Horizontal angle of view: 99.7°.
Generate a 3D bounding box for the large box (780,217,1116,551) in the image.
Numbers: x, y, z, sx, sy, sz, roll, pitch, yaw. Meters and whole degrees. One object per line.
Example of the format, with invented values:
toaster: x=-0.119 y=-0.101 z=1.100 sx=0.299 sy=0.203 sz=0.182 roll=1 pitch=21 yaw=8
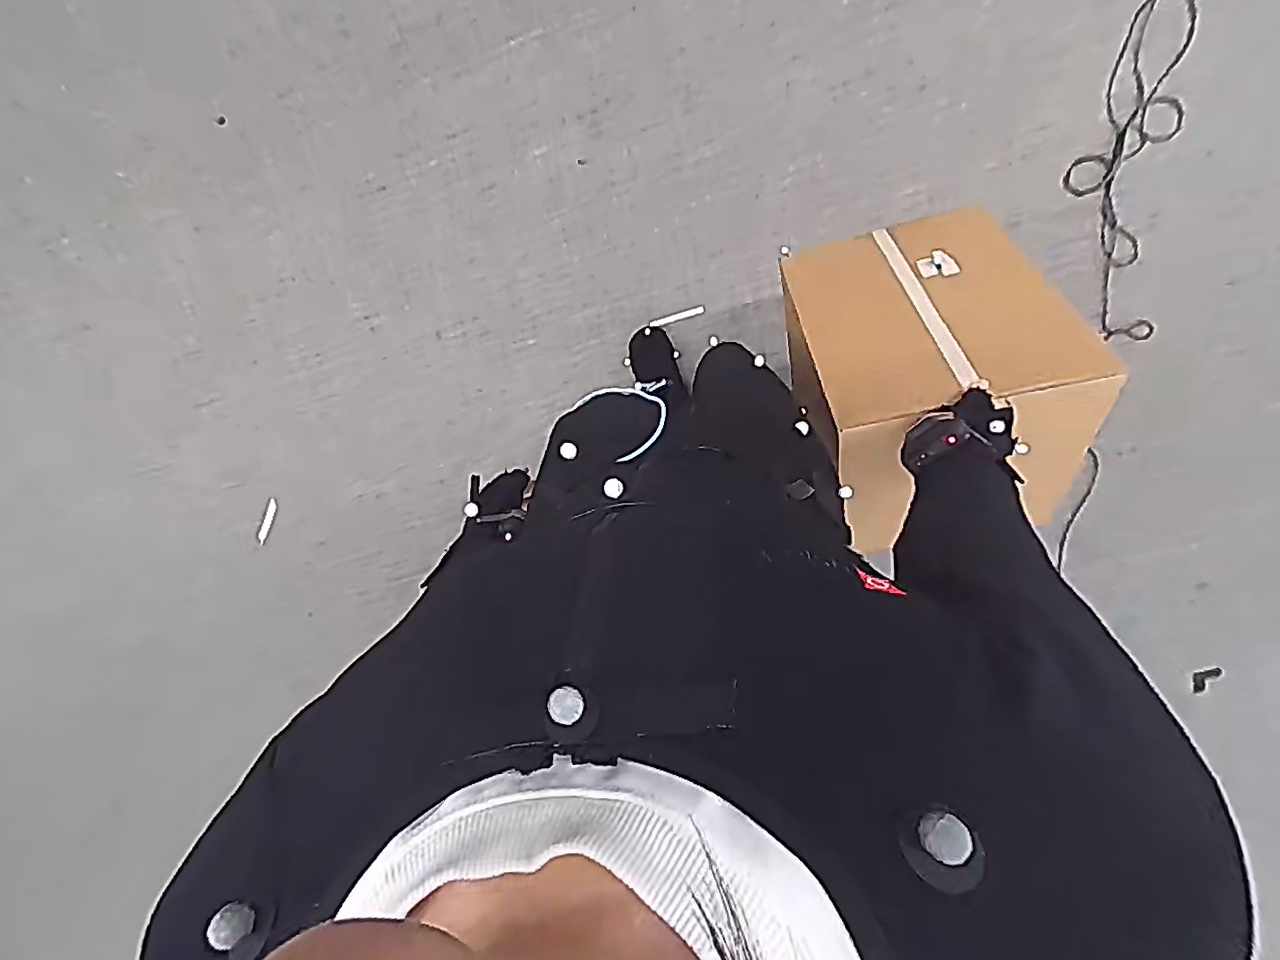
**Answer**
large box: x=0.433 y=-0.150 z=0.878 sx=0.320 sy=0.408 sz=0.320 roll=-11 pitch=139 yaw=10
